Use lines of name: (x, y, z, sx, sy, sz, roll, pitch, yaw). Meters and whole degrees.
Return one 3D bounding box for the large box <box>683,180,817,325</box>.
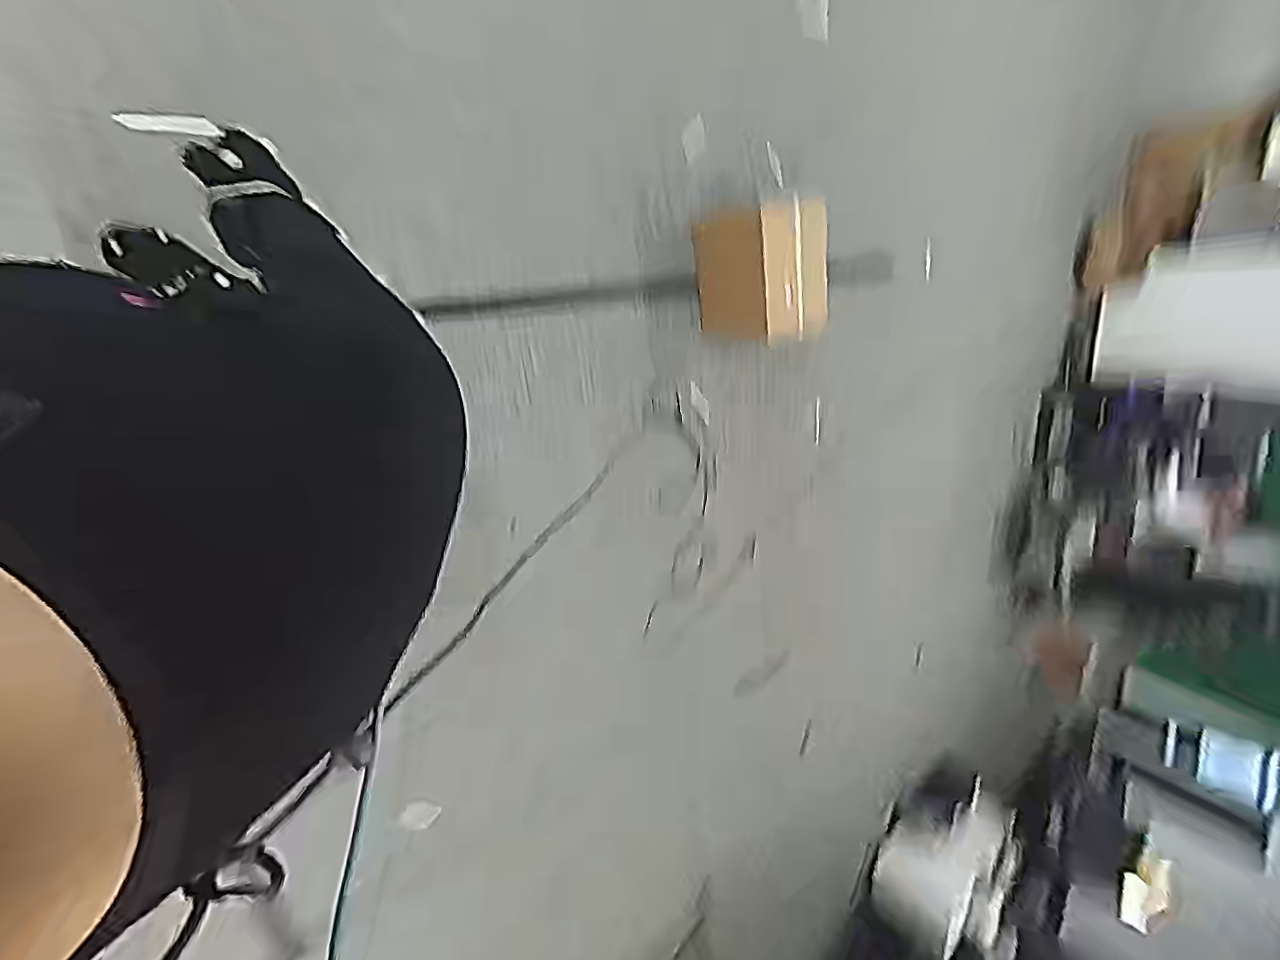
large box: (0.378, -0.765, 1.842, 0.320, 0.320, 0.408, -24, 118, -31)
